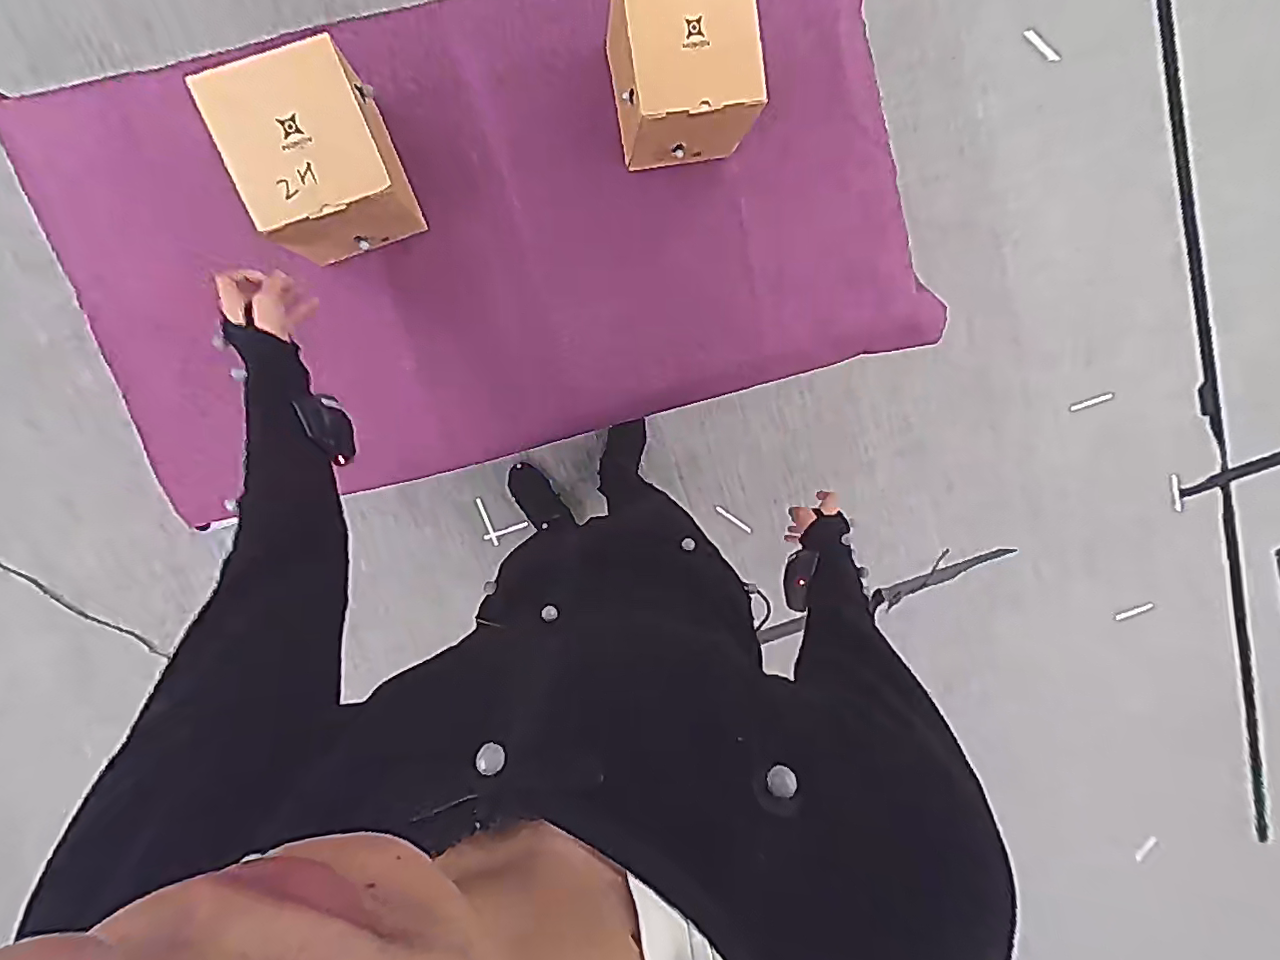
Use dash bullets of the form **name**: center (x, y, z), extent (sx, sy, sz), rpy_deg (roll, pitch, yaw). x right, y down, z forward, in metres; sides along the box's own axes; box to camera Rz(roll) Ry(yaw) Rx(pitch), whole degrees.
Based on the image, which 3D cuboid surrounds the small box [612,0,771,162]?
- **small box**: center (0.060, -0.565, 0.730), extent (0.168, 0.176, 0.179), rpy_deg (-11, 101, -5)

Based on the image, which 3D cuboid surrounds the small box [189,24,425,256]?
- **small box**: center (-0.403, -0.416, 0.692), extent (0.168, 0.176, 0.179), rpy_deg (-21, 101, -4)
